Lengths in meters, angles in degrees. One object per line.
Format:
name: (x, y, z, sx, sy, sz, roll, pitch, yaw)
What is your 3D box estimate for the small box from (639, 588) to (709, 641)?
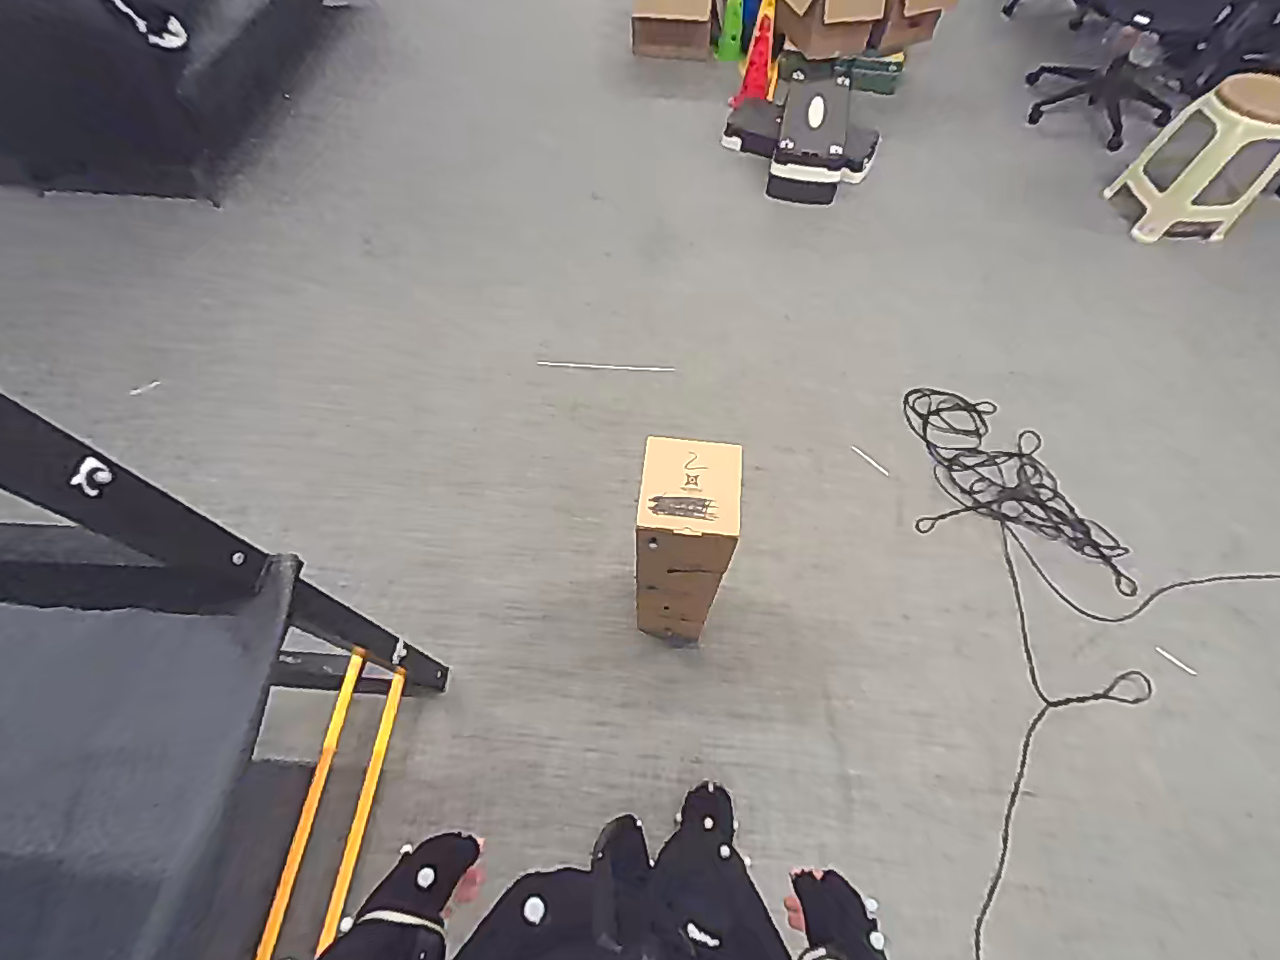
small box: (0.091, 0.298, 1.391, 0.168, 0.176, 0.179, 8, 61, 6)

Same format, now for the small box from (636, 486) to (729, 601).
small box: (0.086, 0.136, 1.108, 0.168, 0.176, 0.179, 7, 60, 4)
